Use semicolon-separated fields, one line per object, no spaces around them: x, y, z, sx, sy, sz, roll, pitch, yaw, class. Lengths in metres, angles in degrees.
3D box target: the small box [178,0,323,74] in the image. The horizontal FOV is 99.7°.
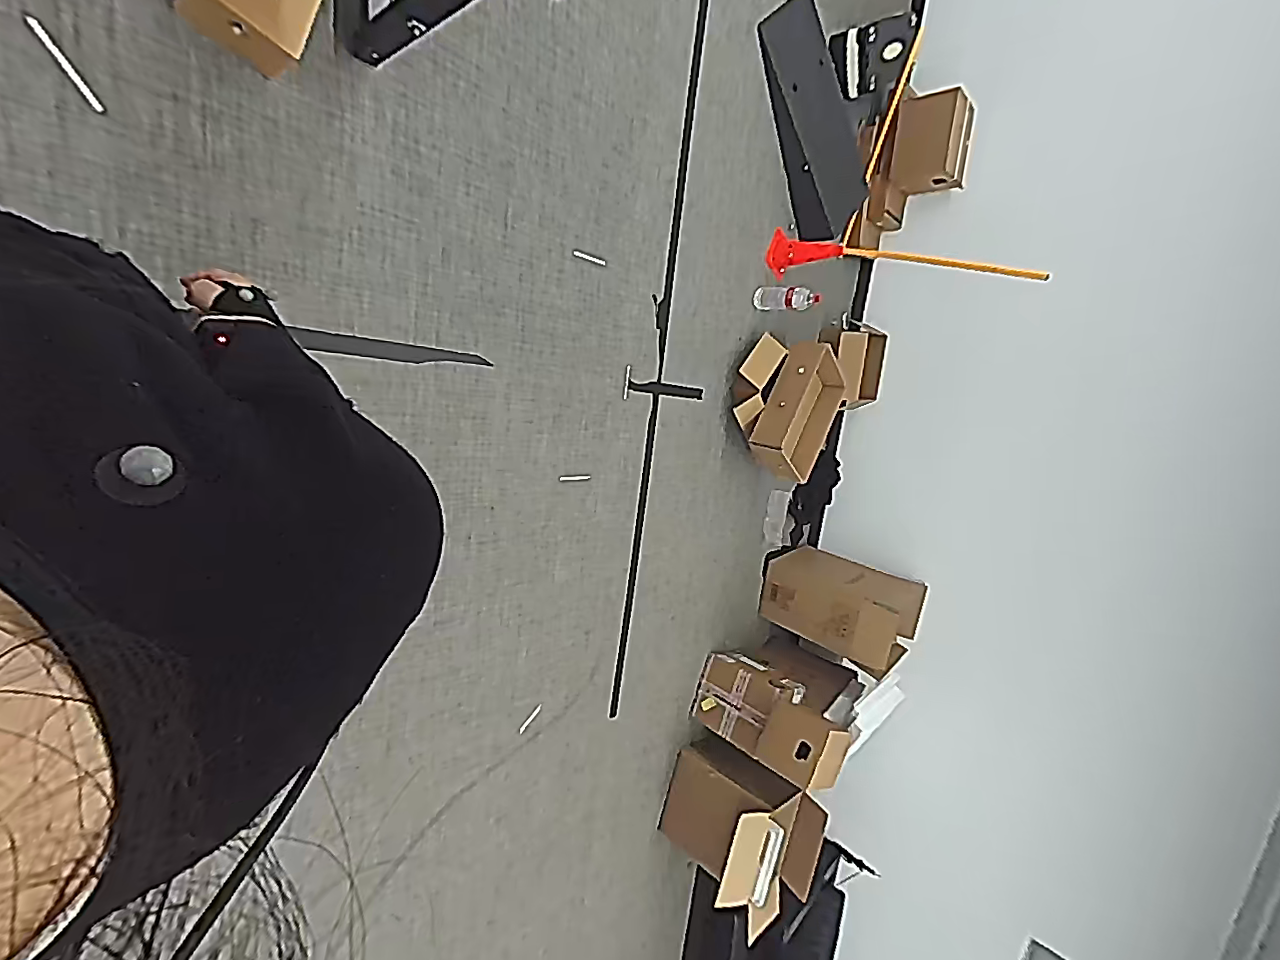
-0.758;-0.939;1.055;0.179;0.176;0.168;21;87;-49;small box
